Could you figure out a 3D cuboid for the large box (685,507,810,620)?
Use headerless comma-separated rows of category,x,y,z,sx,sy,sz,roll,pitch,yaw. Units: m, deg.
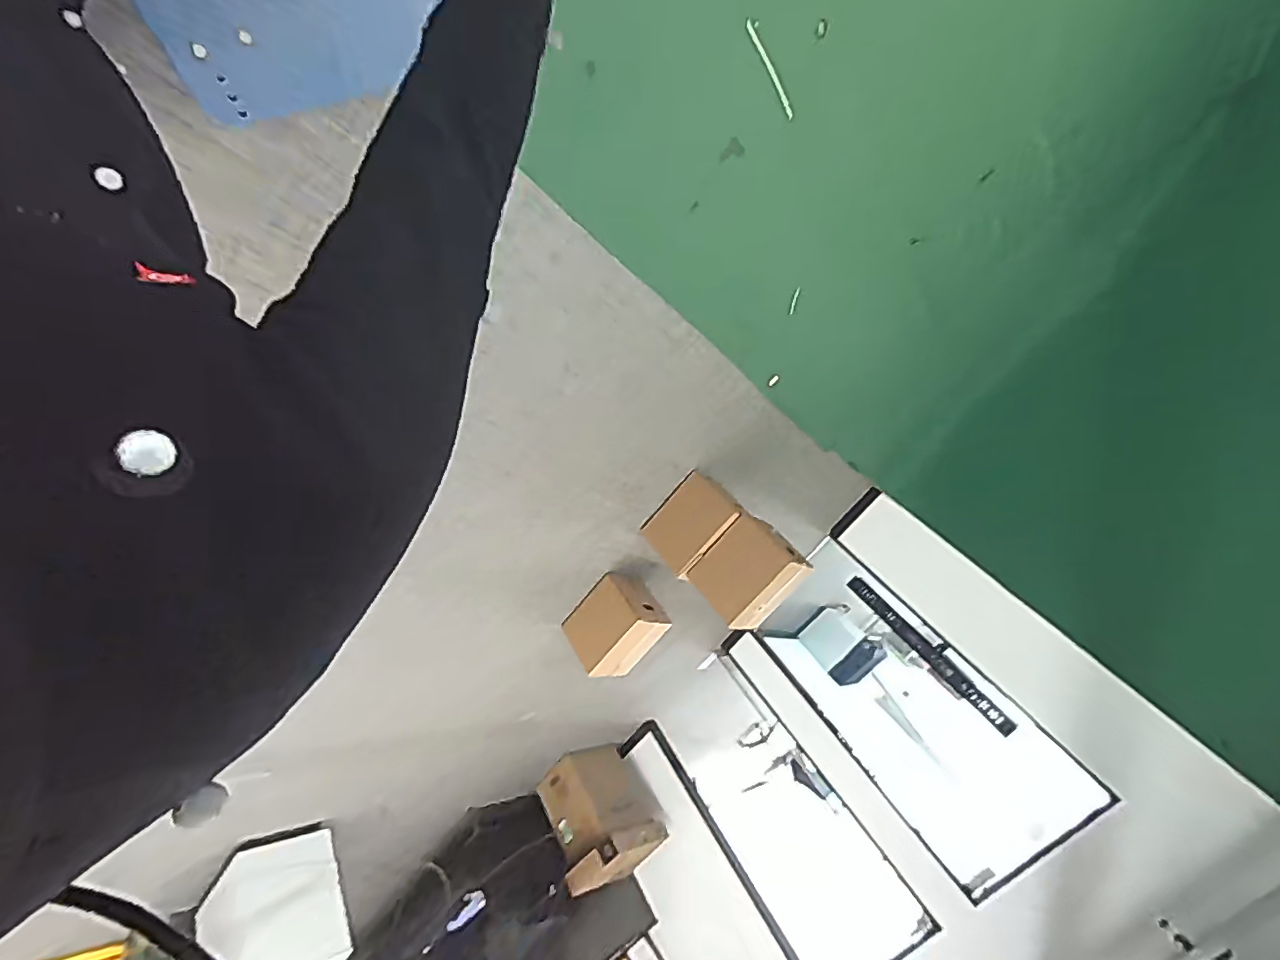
large box,0.488,0.379,2.456,0.408,0.320,0.320,-49,146,13
